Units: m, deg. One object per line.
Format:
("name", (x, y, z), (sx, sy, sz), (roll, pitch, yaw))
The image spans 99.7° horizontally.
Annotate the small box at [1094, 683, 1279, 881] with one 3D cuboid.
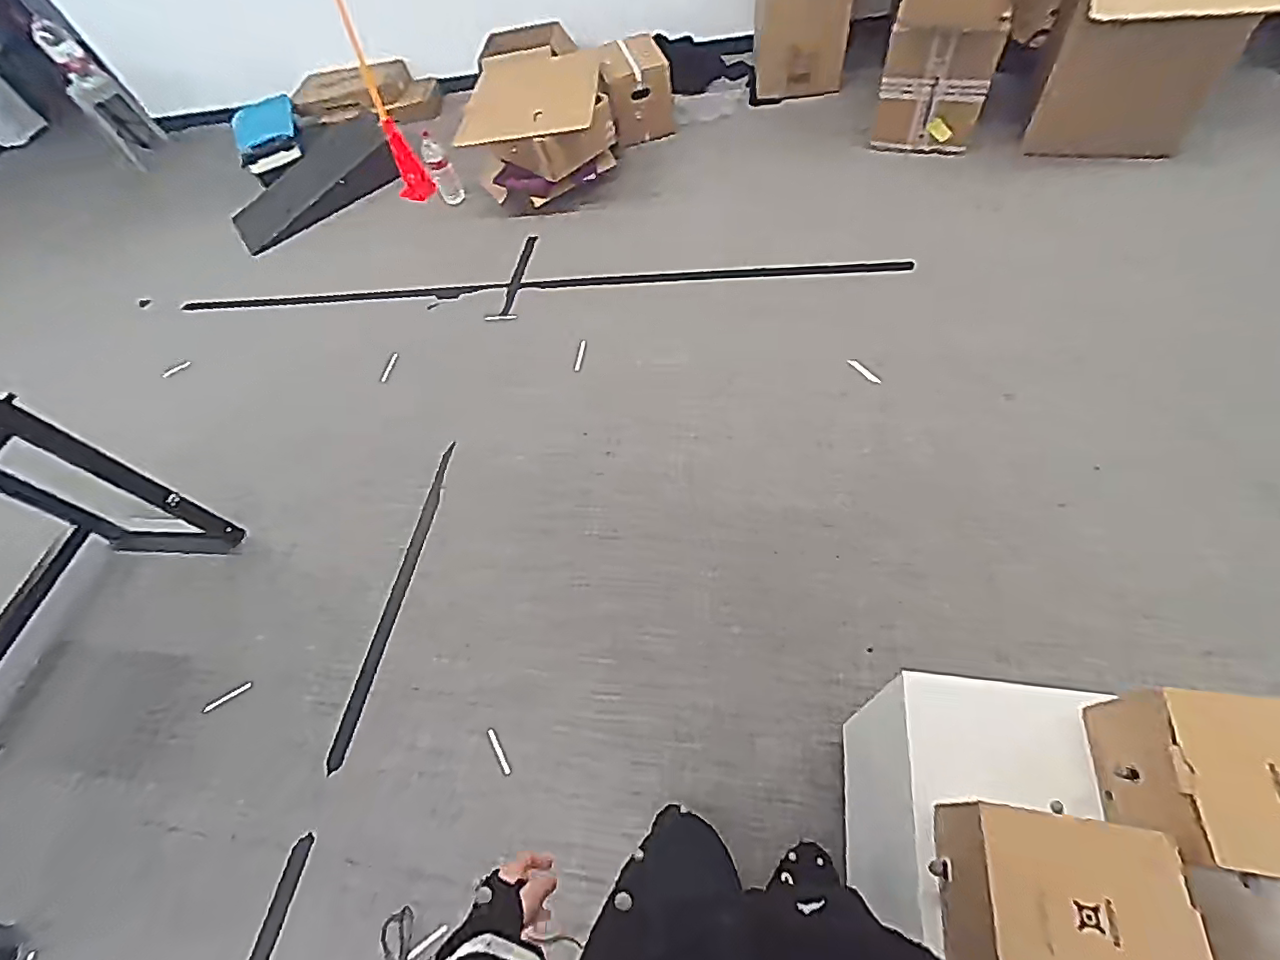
("small box", (0.646, 0.335, 0.596), (0.179, 0.176, 0.168), (2, 61, 15))
